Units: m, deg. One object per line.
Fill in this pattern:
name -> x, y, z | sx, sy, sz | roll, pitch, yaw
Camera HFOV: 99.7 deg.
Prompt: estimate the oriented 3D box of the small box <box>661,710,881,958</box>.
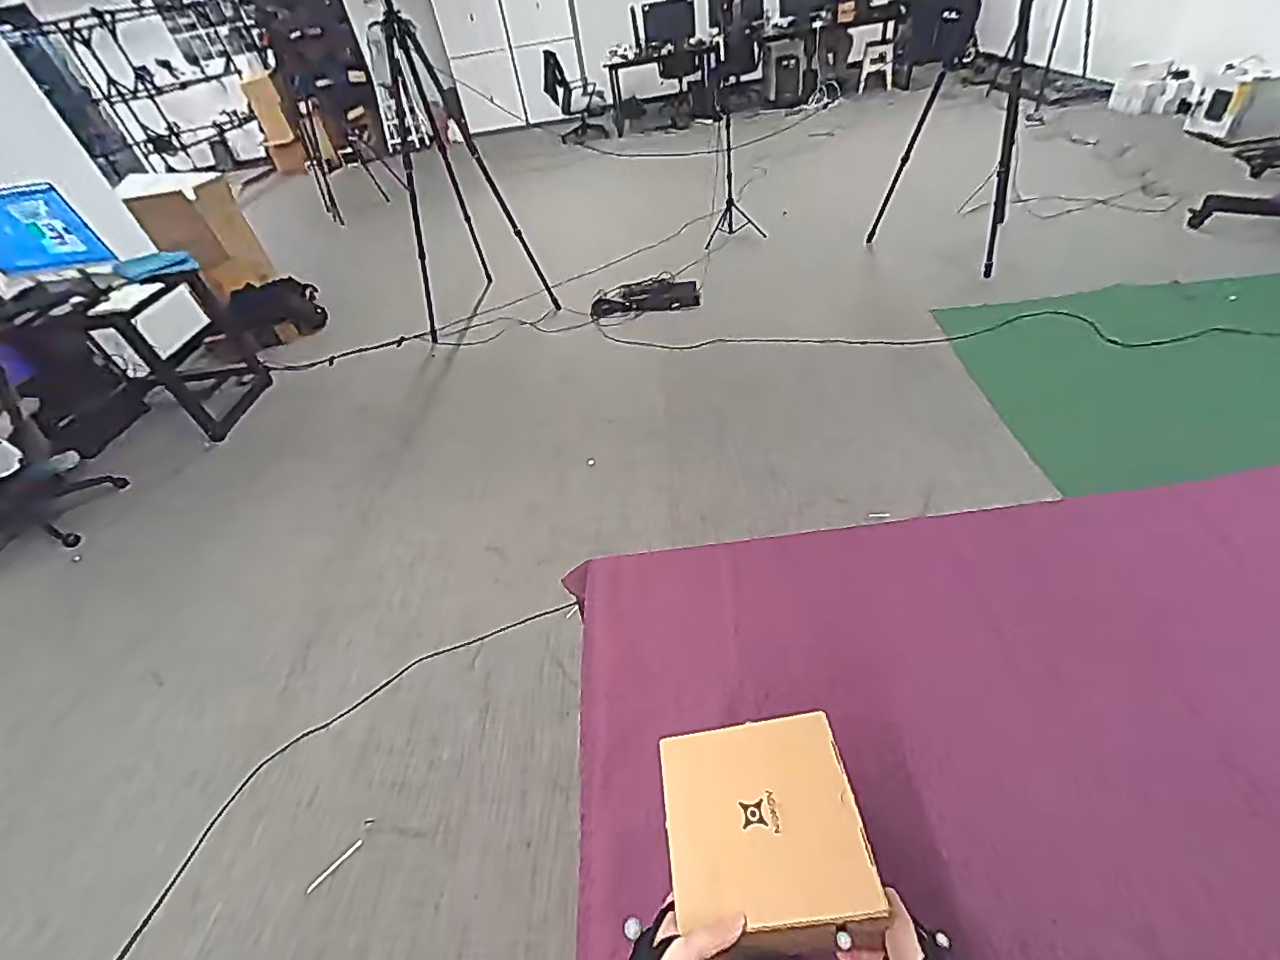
small box -> 0.129, 0.367, 0.557 | 0.179, 0.176, 0.168 | -13, 41, 6
